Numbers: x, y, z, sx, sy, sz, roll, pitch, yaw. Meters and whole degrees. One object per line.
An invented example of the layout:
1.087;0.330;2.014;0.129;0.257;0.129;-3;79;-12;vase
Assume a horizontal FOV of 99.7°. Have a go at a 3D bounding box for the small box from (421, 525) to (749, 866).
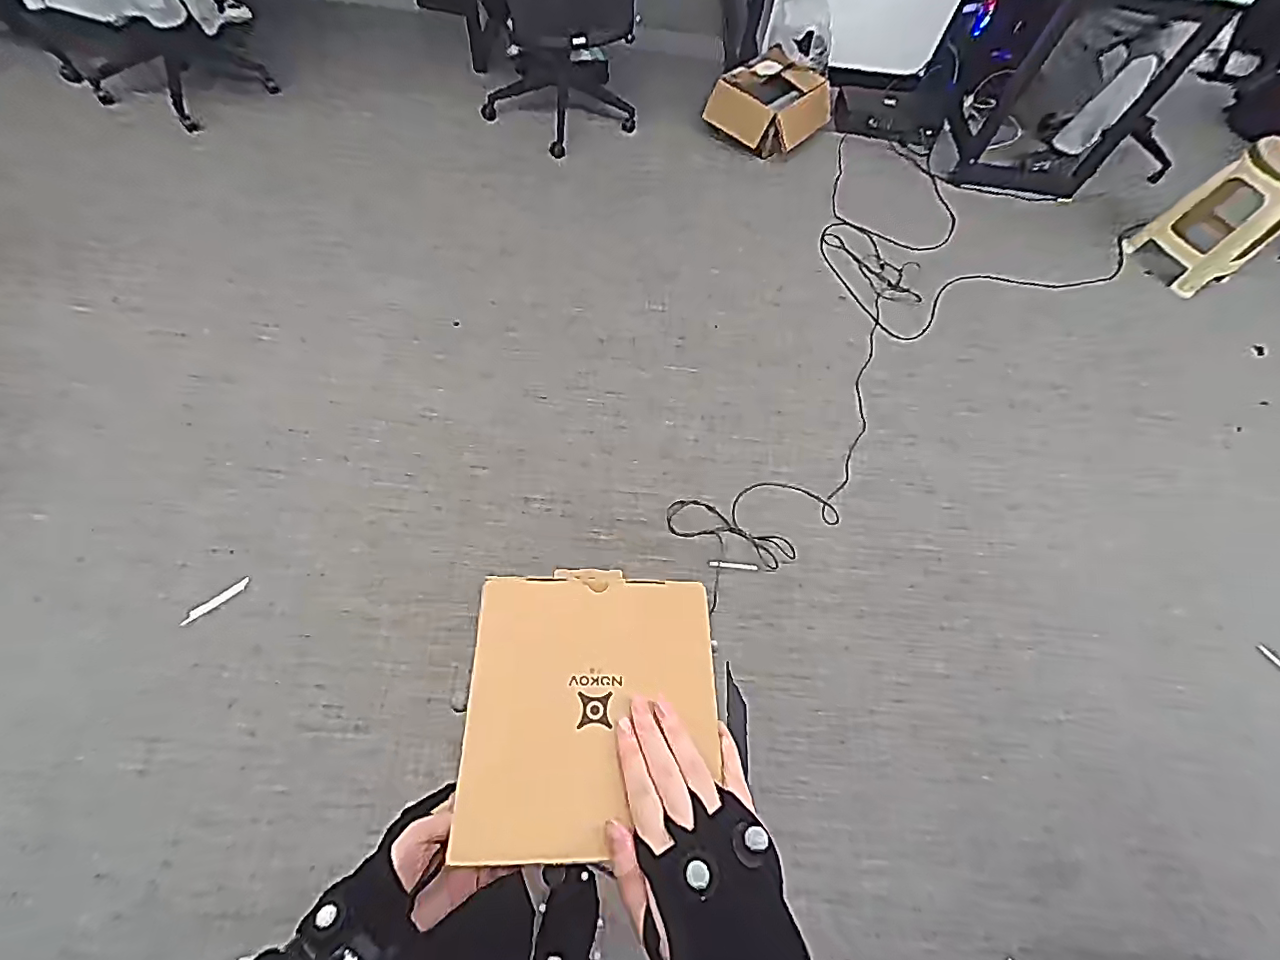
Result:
-0.029;0.155;0.402;0.179;0.176;0.168;-11;38;5;small box
